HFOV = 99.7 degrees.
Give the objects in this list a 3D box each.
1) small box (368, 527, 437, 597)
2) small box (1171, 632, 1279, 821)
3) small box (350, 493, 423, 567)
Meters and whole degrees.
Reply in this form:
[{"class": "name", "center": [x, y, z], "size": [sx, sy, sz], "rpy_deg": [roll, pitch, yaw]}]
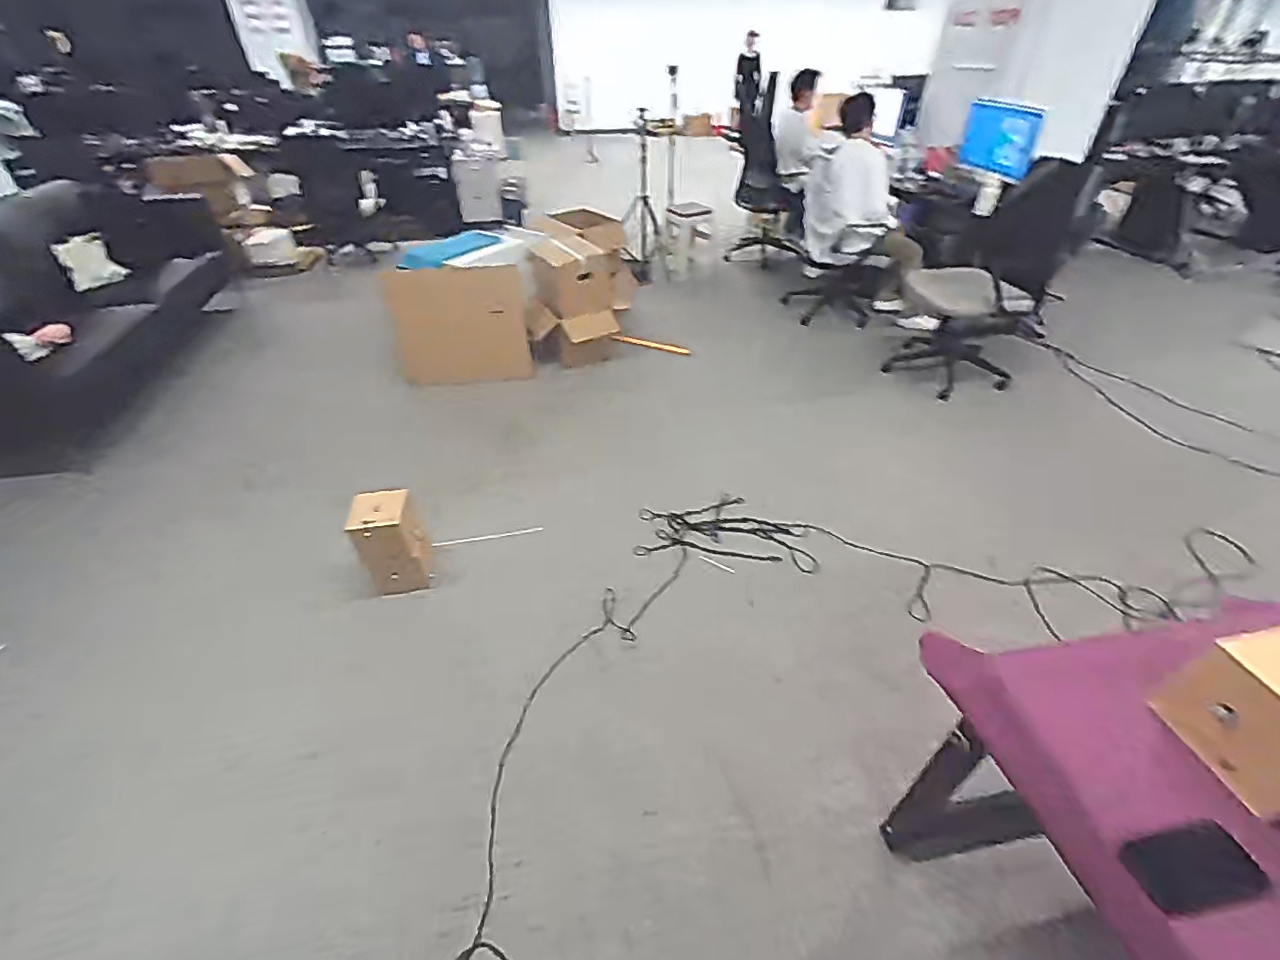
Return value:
[{"class": "small box", "center": [-0.836, 0.294, 1.926], "size": [0.179, 0.176, 0.168], "rpy_deg": [-8, 39, -7]}, {"class": "small box", "center": [0.867, 0.318, 0.709], "size": [0.179, 0.176, 0.168], "rpy_deg": [-7, 39, -9]}, {"class": "small box", "center": [-0.845, 0.168, 1.822], "size": [0.168, 0.176, 0.179], "rpy_deg": [-7, 38, -6]}]
